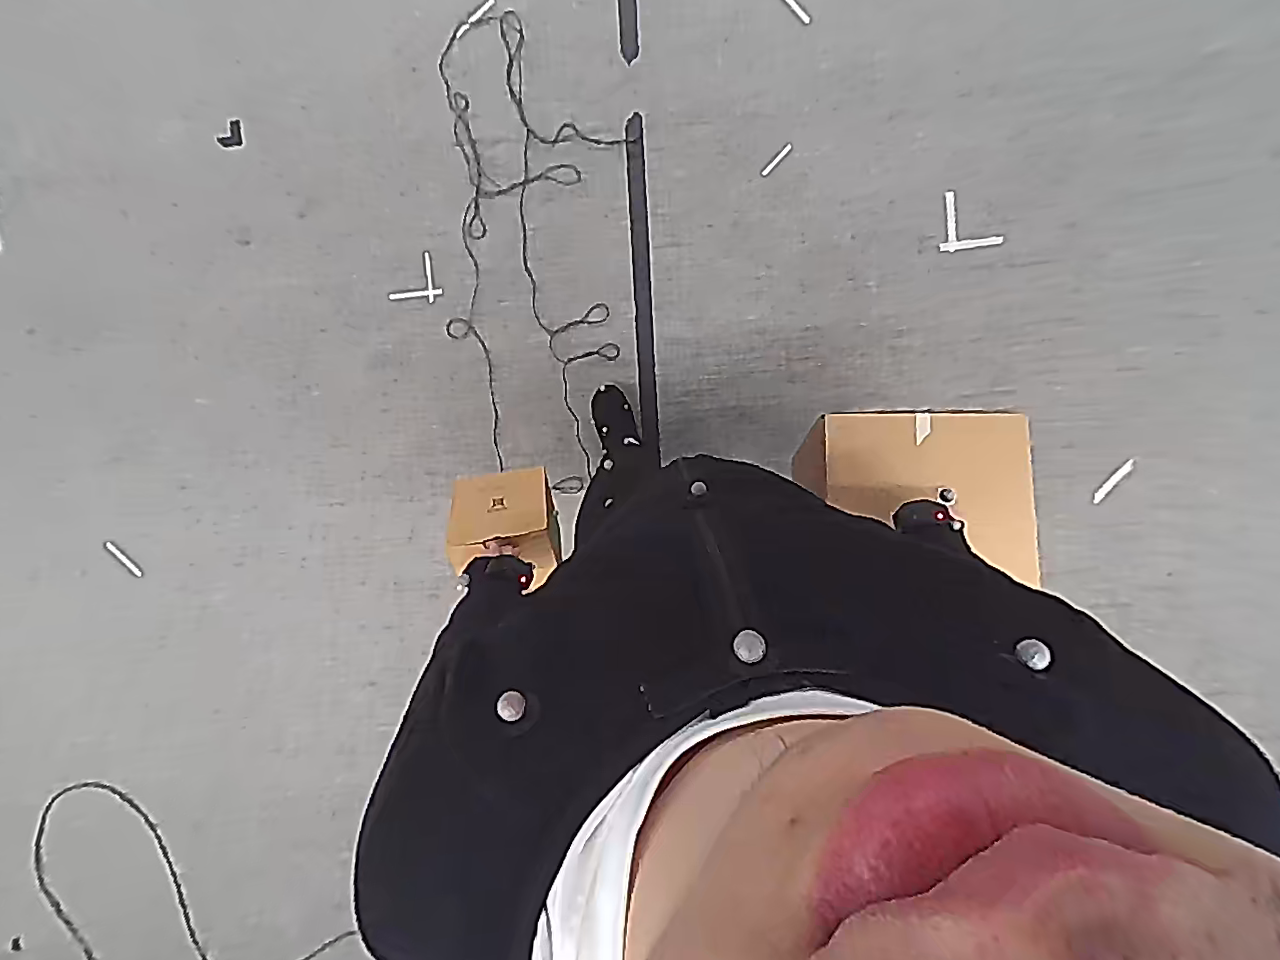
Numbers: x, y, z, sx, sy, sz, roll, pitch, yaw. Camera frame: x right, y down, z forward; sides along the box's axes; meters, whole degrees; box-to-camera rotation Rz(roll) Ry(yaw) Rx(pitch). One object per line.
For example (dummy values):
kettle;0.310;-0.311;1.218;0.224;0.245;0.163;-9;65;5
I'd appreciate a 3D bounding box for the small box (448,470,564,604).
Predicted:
small box;-0.236;0.108;0.991;0.168;0.179;0.176;-10;127;-5
